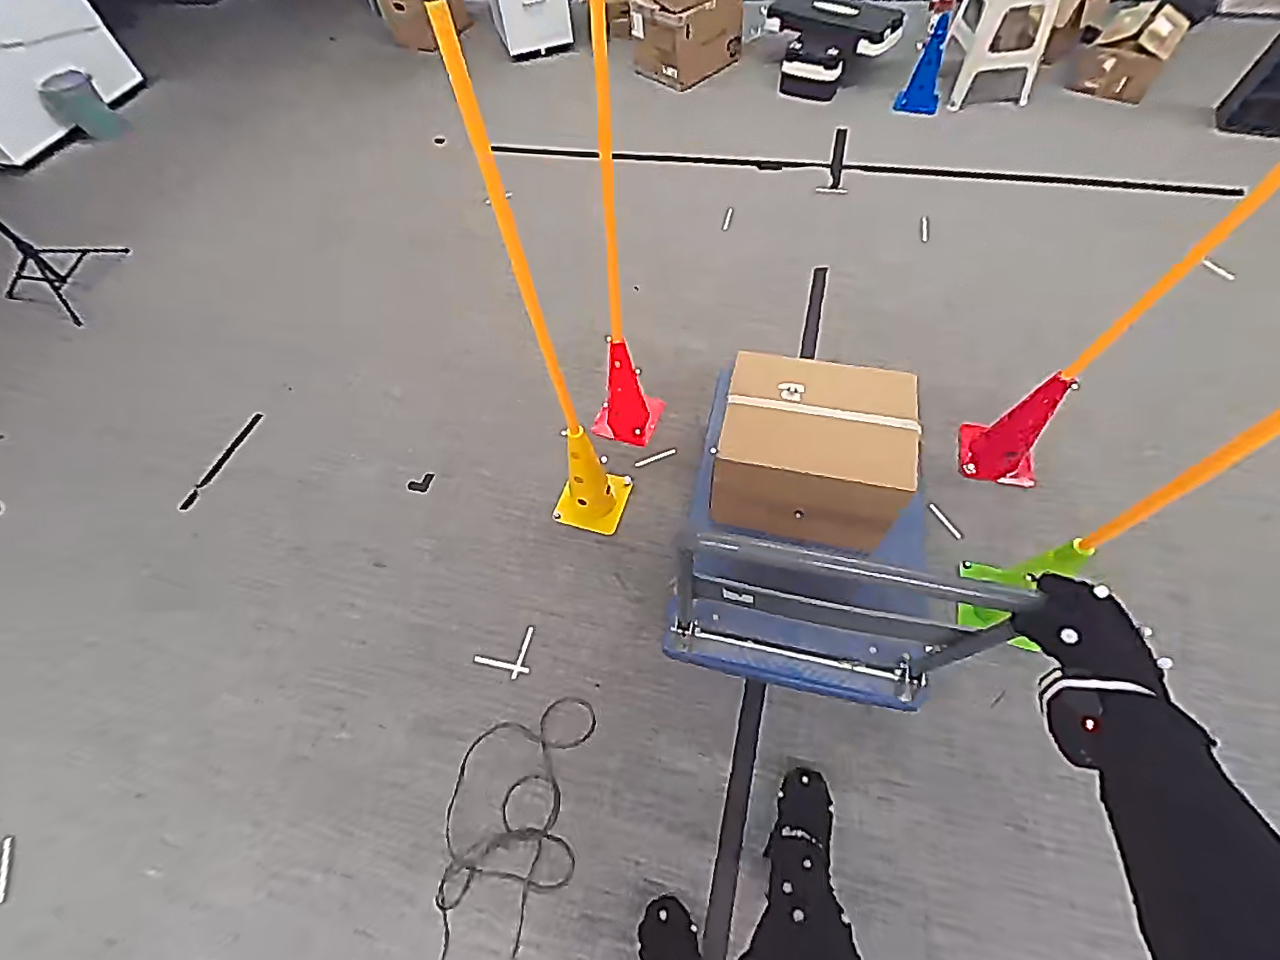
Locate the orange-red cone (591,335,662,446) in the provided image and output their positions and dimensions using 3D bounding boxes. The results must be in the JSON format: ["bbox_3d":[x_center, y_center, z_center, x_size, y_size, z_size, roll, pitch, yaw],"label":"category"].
[{"bbox_3d":[-0.054,-0.303,1.664,0.198,0.360,0.199,18,60,14],"label":"orange-red cone"}]

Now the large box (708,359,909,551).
[{"bbox_3d":[0.392,-0.054,1.307,0.408,0.320,0.320,10,61,11],"label":"large box"}]

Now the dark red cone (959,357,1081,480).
[{"bbox_3d":[1.058,-0.182,1.477,0.201,0.394,0.202,12,61,9],"label":"dark red cone"}]

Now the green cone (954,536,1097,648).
[{"bbox_3d":[0.917,0.228,1.258,0.202,0.368,0.200,15,61,12],"label":"green cone"}]
